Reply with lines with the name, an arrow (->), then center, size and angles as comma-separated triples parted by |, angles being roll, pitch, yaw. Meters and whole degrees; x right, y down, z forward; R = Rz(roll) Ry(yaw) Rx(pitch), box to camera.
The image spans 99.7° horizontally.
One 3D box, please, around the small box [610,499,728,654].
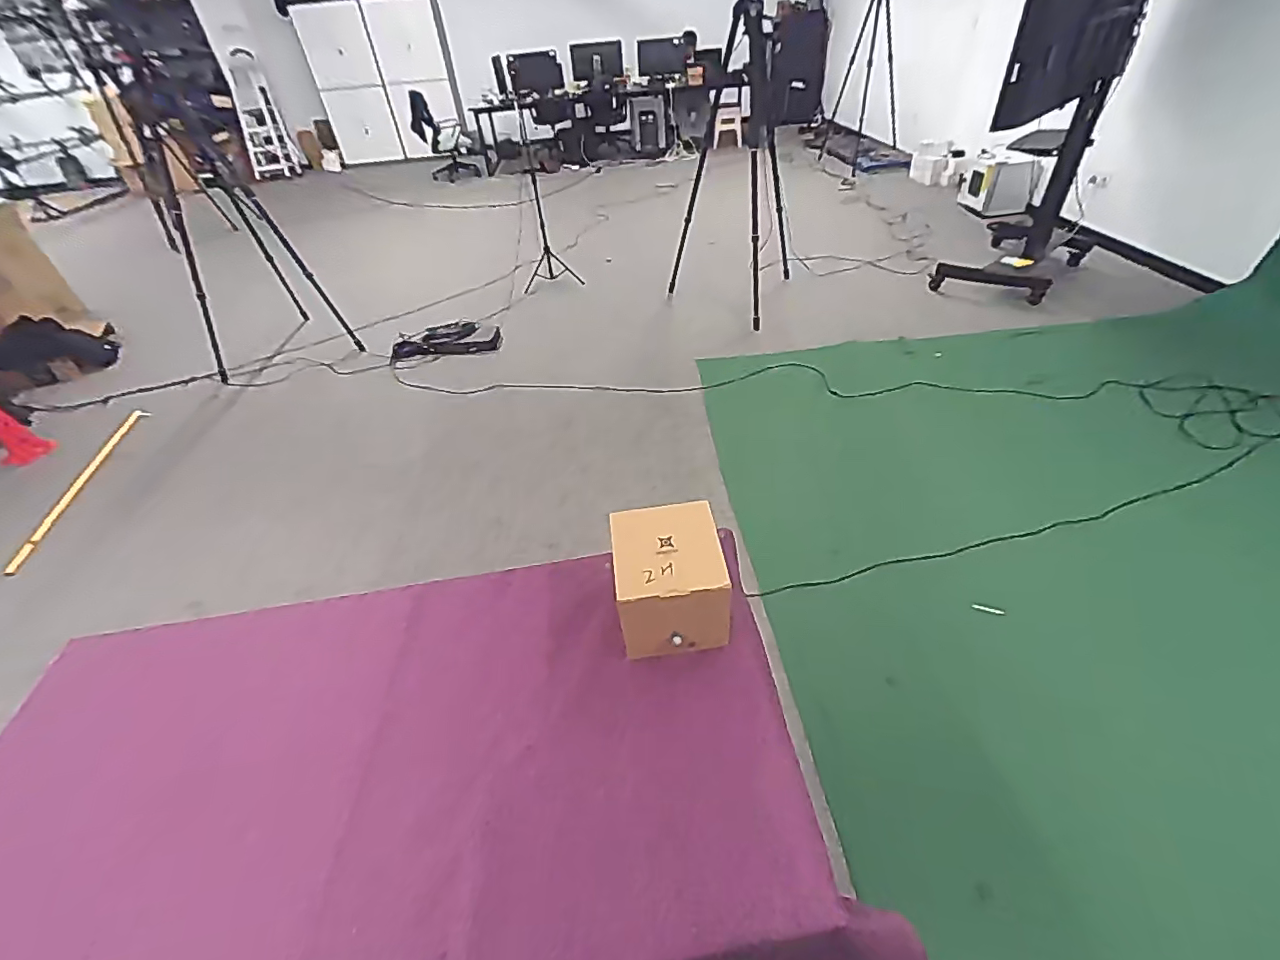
small box -> 0.043, 0.157, 0.881 | 0.168, 0.176, 0.179 | -8, 44, 0
